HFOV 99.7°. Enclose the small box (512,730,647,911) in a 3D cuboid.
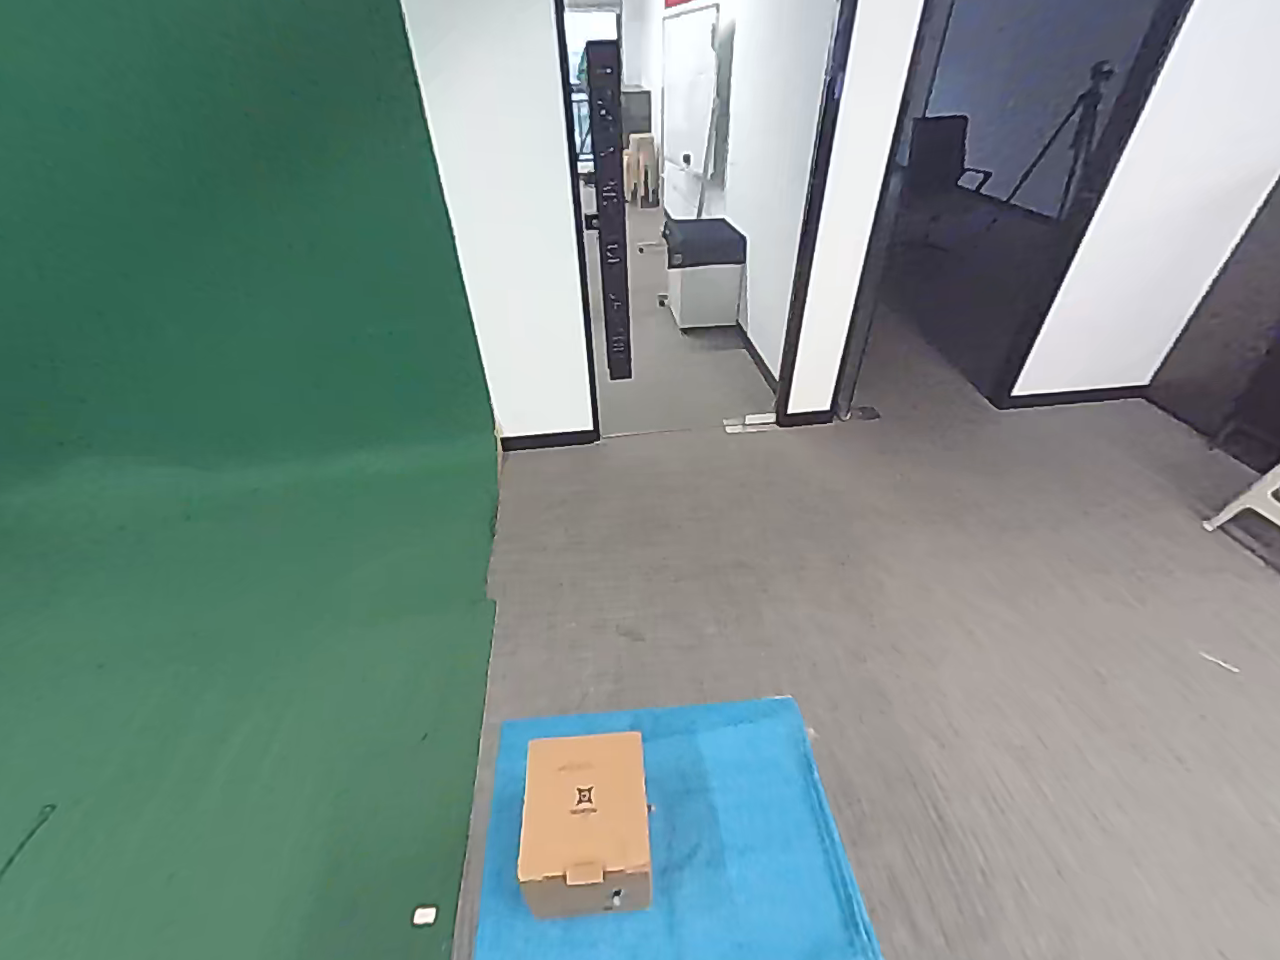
[{"bbox_3d":[-0.076,0.484,0.766,0.168,0.176,0.179,-2,37,-3],"label":"small box"}]
